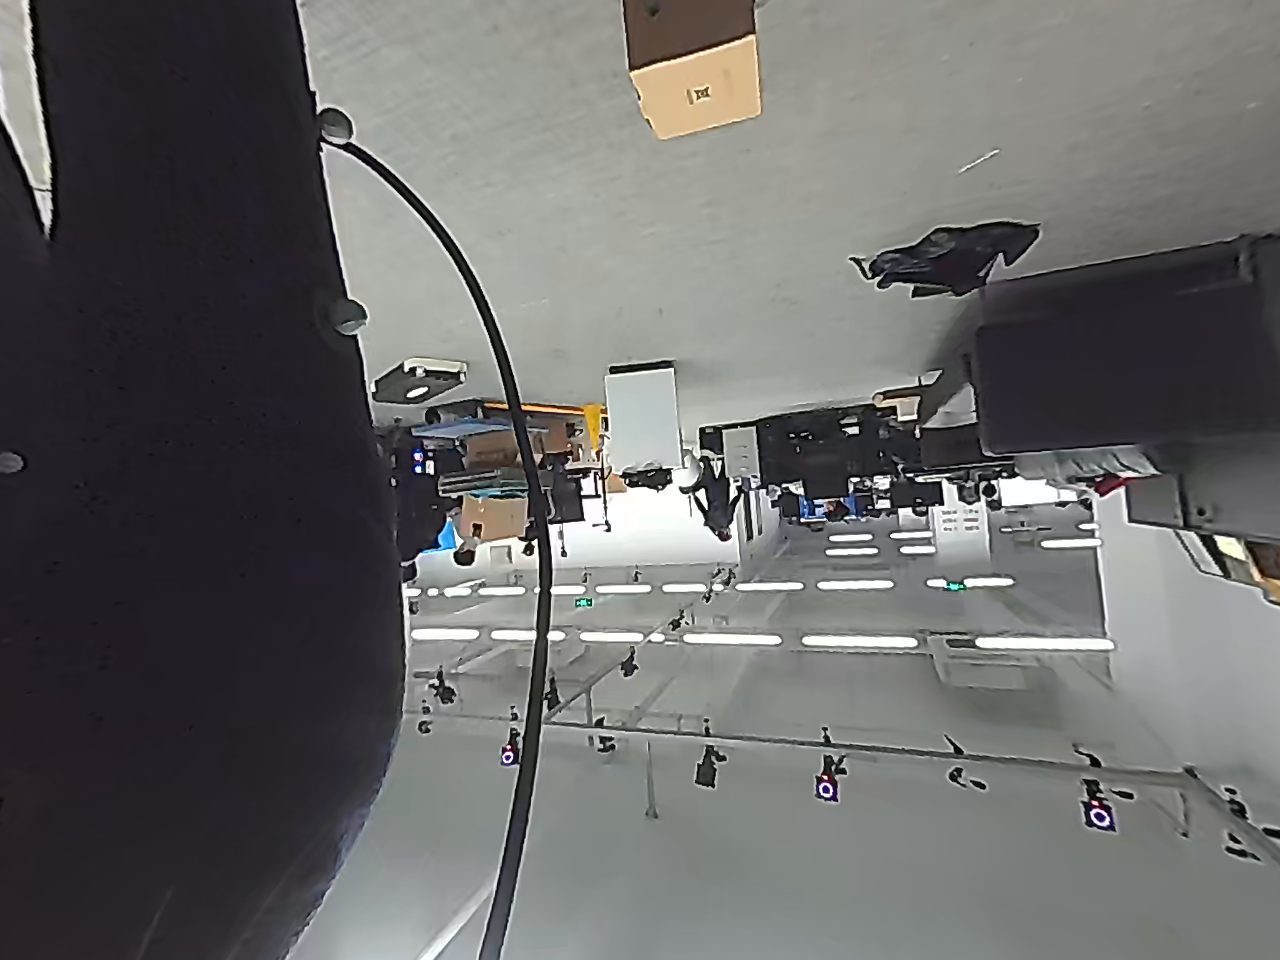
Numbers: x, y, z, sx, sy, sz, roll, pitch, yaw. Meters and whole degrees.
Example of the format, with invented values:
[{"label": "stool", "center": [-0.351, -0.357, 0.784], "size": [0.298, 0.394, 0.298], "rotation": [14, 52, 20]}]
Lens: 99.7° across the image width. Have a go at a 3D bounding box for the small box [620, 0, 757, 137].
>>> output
[{"label": "small box", "center": [0.073, -0.654, 0.792], "size": [0.179, 0.176, 0.168], "rotation": [-6, 180, 15]}]
